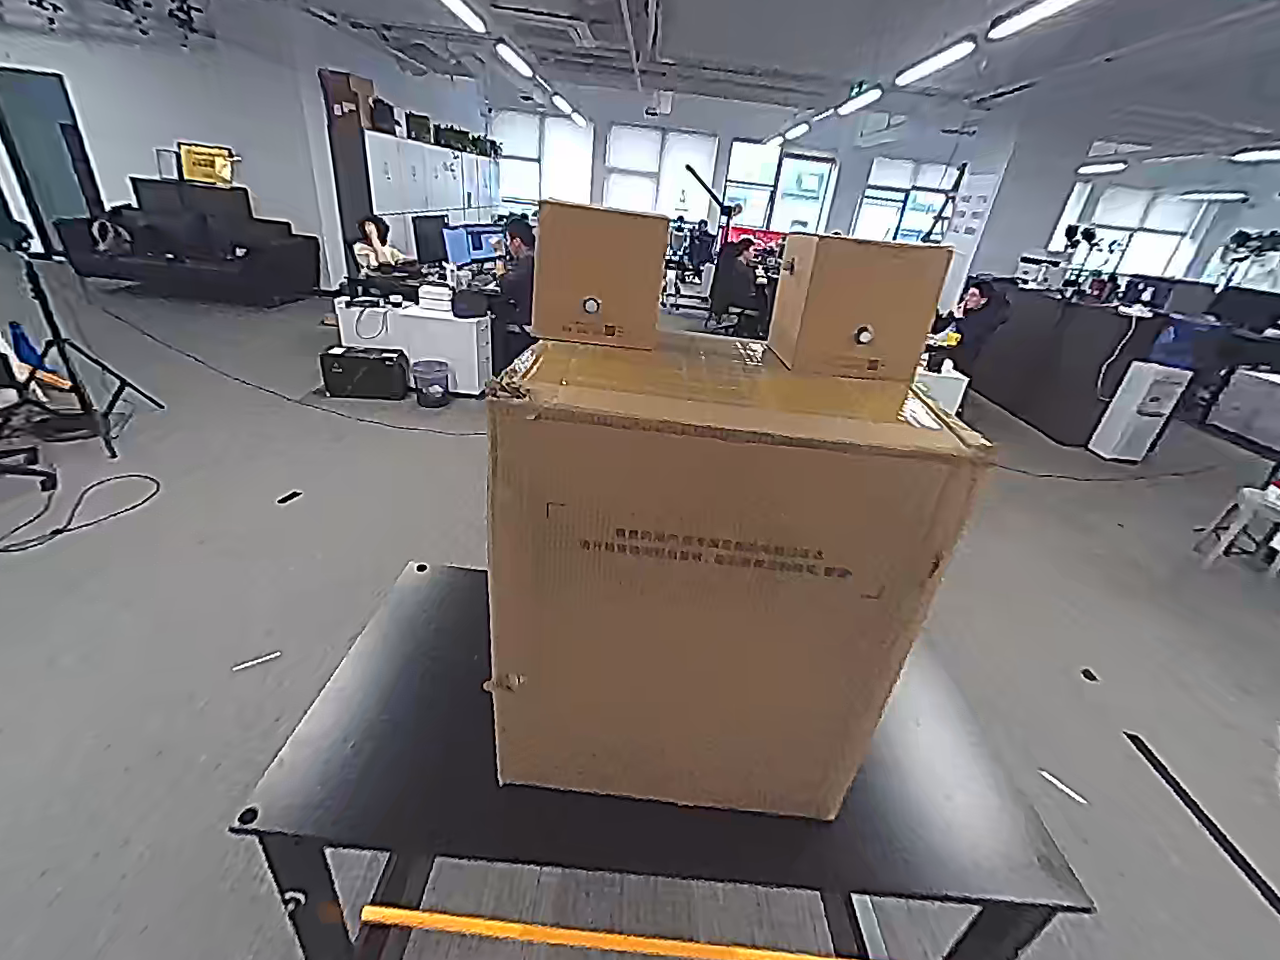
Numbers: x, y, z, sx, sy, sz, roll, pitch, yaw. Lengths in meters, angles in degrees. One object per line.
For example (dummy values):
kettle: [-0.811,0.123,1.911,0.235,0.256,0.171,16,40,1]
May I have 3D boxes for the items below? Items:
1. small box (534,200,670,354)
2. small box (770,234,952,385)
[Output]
small box: [-0.058,-0.289,0.767,0.168,0.176,0.179,5,27,-7]
small box: [0.288,-0.242,0.754,0.168,0.176,0.179,5,26,-1]
